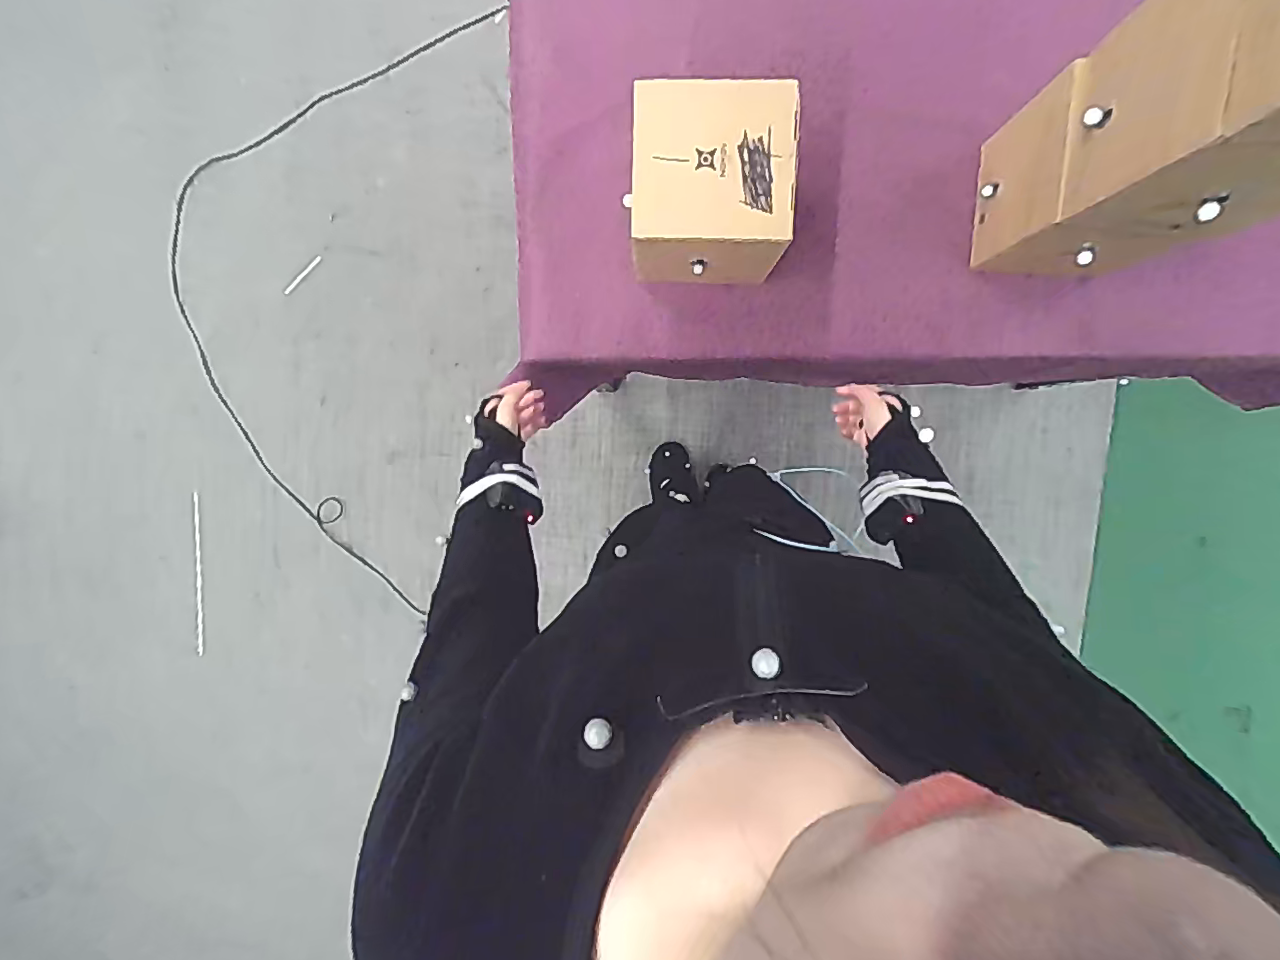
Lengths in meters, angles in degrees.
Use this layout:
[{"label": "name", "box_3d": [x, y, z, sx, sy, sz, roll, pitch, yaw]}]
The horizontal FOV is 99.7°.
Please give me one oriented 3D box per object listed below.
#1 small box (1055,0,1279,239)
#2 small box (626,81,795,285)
[{"label": "small box", "box_3d": [0.518, -0.334, 0.481, 0.168, 0.176, 0.179, 6, 95, 1]}, {"label": "small box", "box_3d": [0.076, -0.344, 0.657, 0.179, 0.176, 0.168, 2, 94, 2]}]
